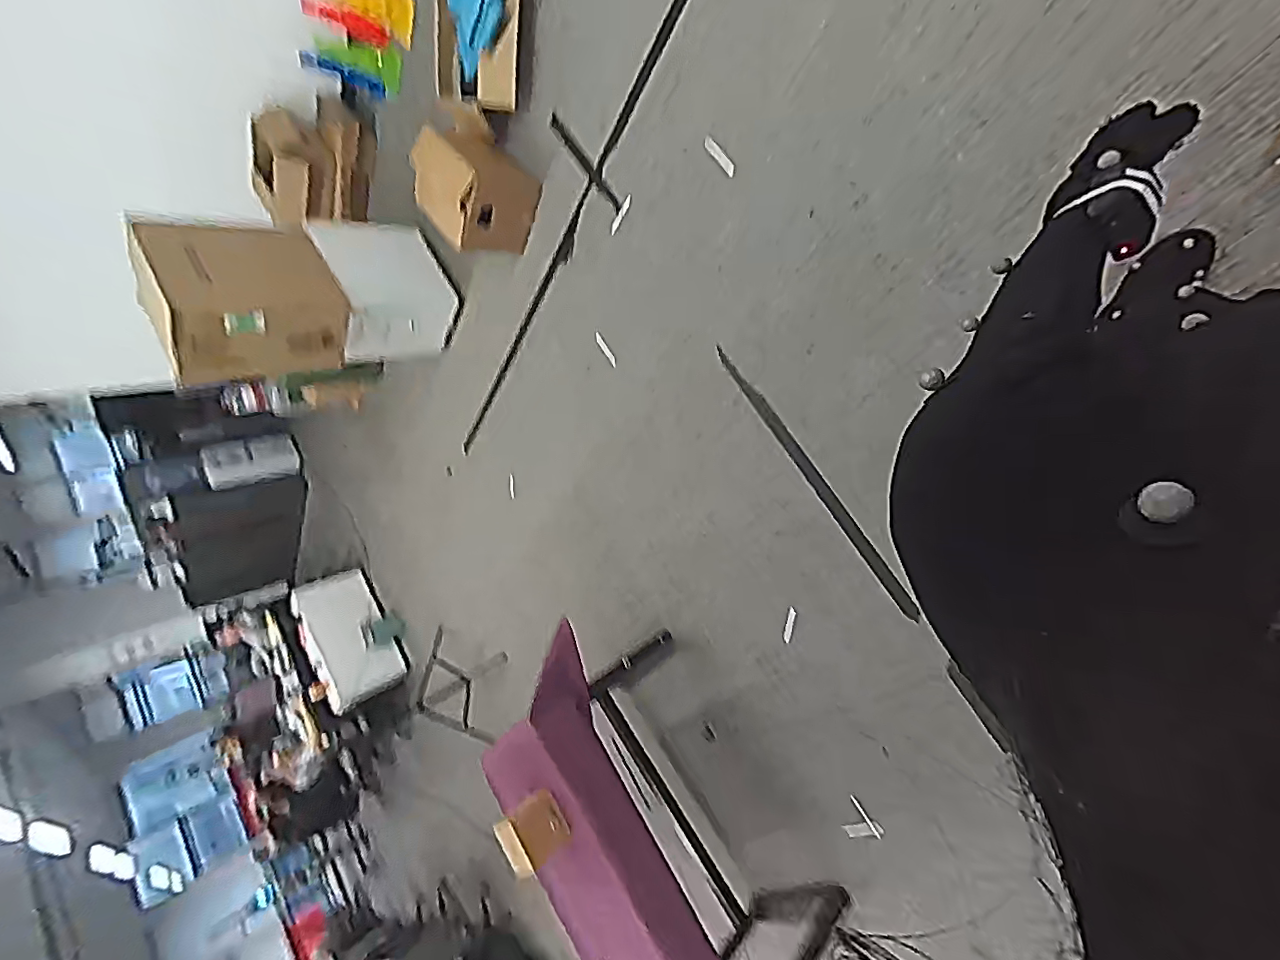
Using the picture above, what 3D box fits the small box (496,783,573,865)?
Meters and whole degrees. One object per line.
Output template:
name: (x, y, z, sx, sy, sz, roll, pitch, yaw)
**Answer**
small box: (-0.354, 1.159, 1.824, 0.168, 0.176, 0.179, 55, 134, 14)
